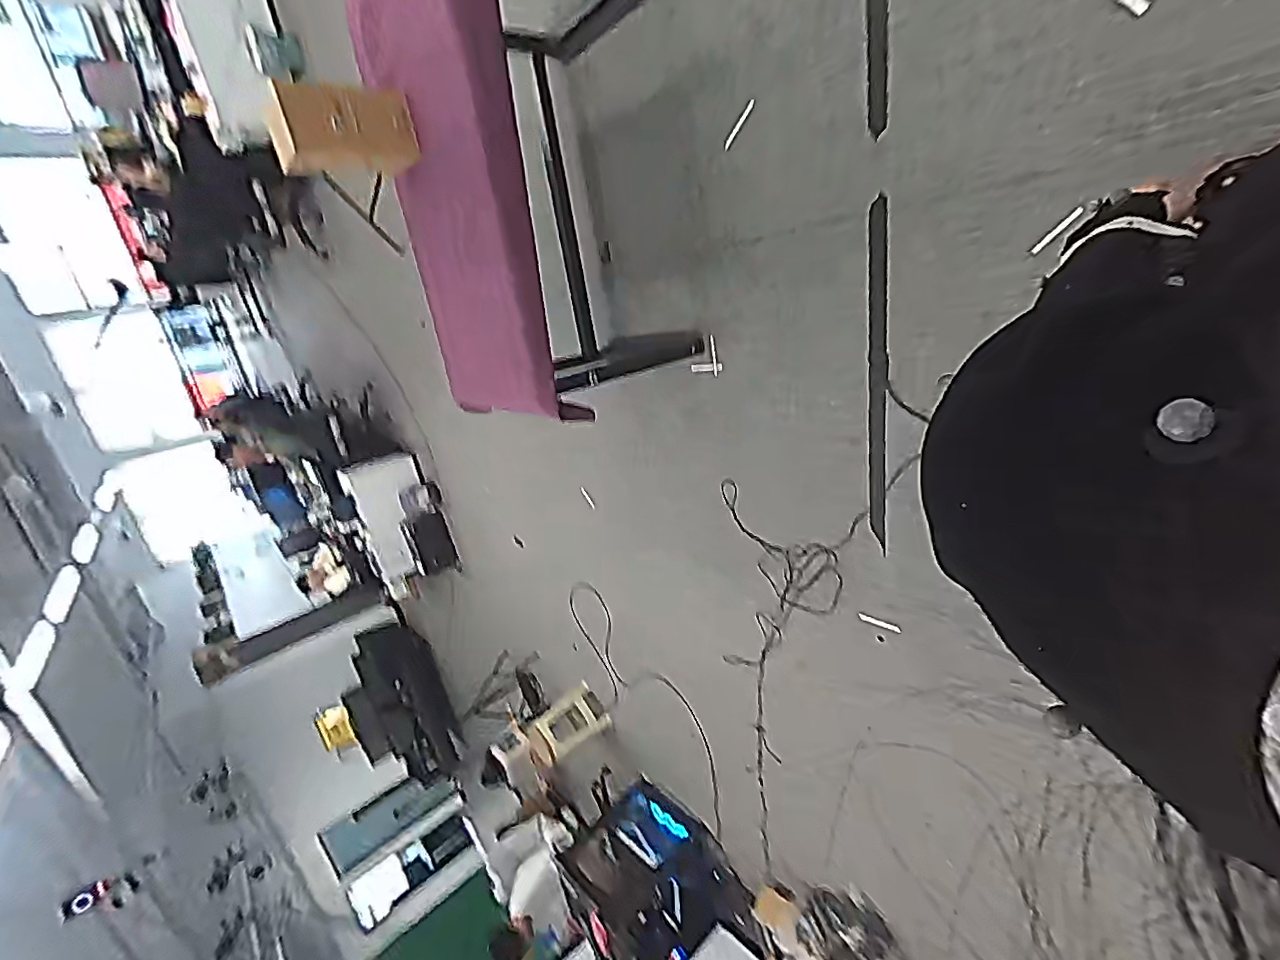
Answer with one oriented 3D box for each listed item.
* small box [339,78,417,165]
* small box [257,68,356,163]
[{"bbox_3d":[-0.762,-1.008,1.536,0.179,0.176,0.168,13,120,46],"label":"small box"},{"bbox_3d":[-0.884,-0.959,1.440,0.179,0.176,0.168,9,118,47],"label":"small box"}]
